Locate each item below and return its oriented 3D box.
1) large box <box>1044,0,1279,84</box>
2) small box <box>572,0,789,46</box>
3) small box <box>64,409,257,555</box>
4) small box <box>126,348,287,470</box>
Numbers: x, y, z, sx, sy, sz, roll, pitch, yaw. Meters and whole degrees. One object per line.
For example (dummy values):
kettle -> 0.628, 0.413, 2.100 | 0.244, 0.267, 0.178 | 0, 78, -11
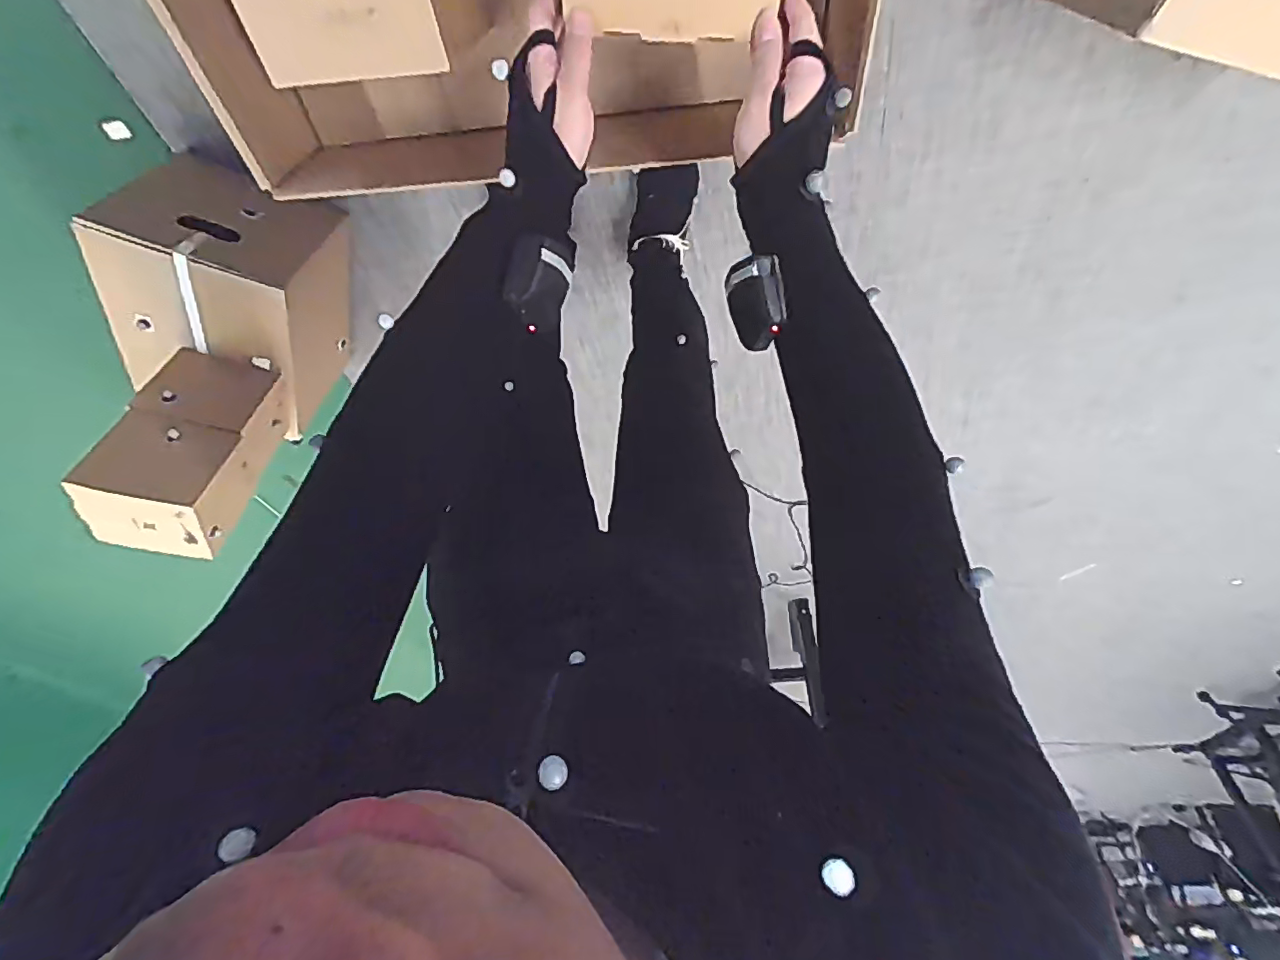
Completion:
large box -> 0.821, -0.715, 0.659 | 0.408, 0.320, 0.320 | 9, 139, -7
small box -> 0.032, -0.461, 0.404 | 0.168, 0.176, 0.179 | 1, 142, -2
small box -> -0.805, 0.002, 0.933 | 0.179, 0.176, 0.168 | 15, 138, -16
small box -> -0.812, -0.126, 1.036 | 0.179, 0.176, 0.168 | 15, 138, -17
